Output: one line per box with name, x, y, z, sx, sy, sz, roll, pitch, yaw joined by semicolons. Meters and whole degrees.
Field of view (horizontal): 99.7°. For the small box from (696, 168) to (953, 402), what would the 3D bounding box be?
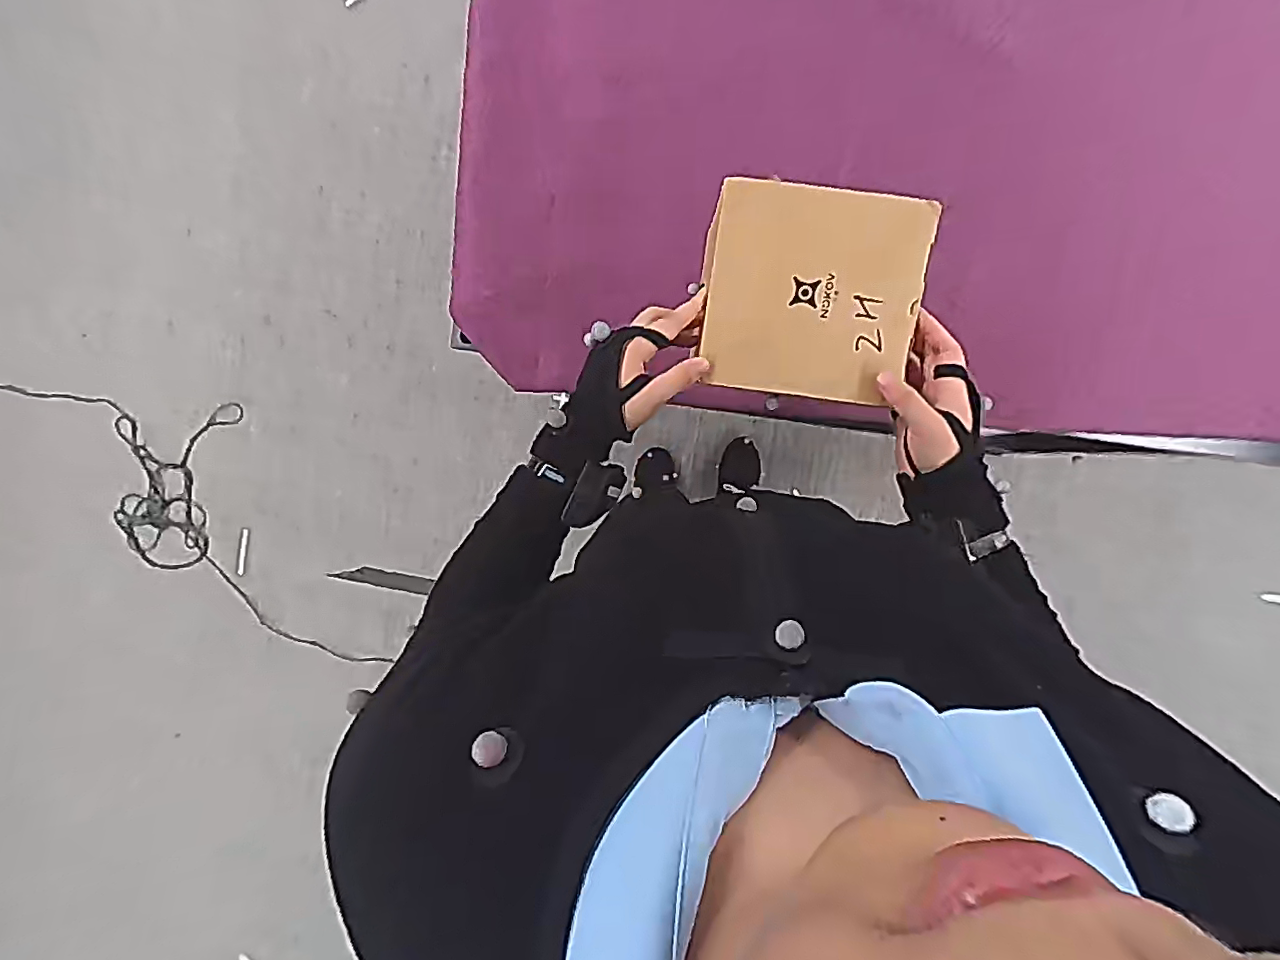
small box;0.151;-0.170;0.514;0.179;0.176;0.168;7;102;1
